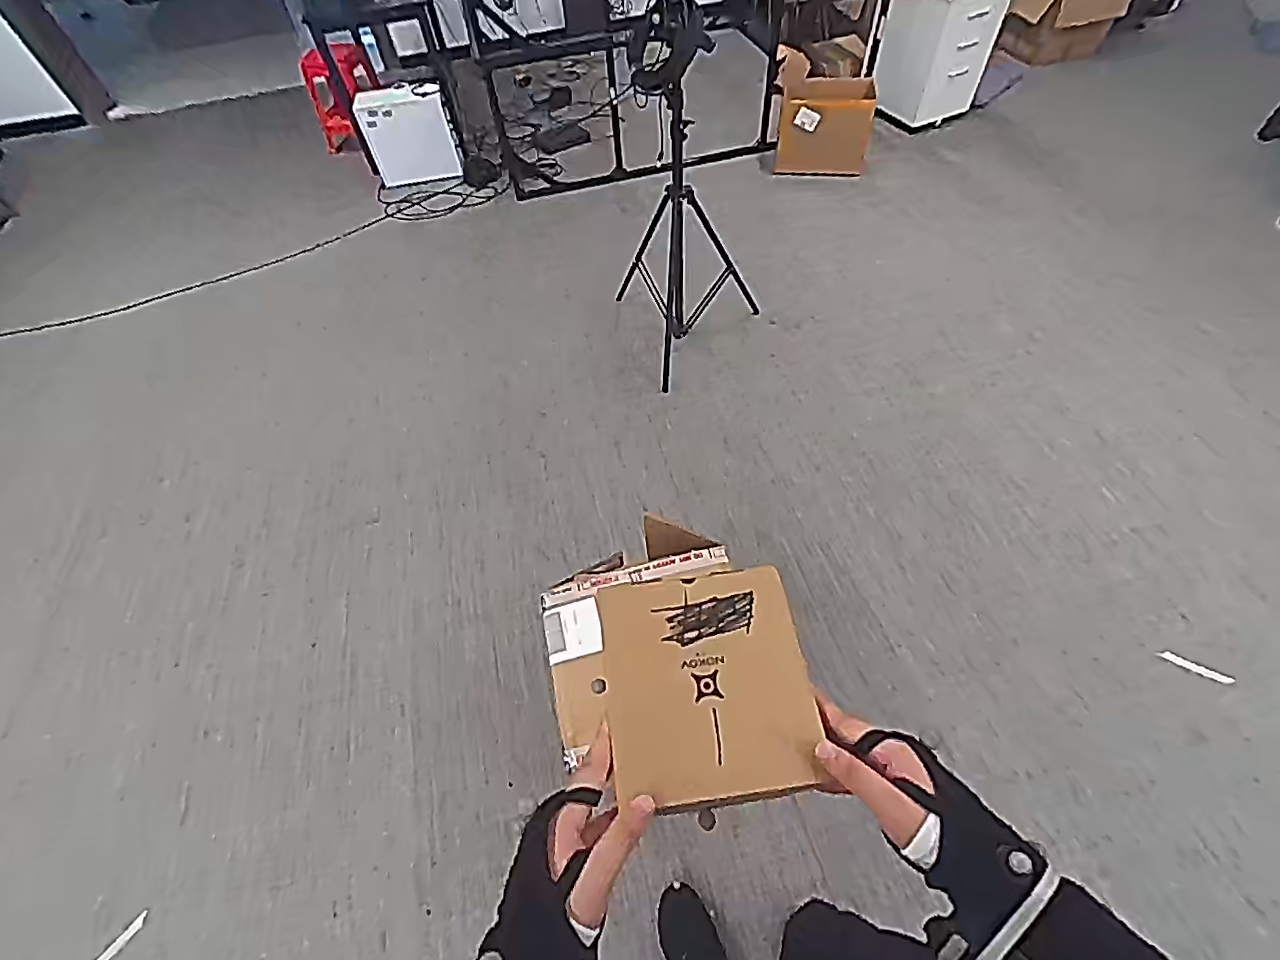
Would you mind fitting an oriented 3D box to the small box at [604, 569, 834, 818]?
[{"bbox_3d":[0.054,0.204,0.511,0.168,0.176,0.179,-6,56,-4],"label":"small box"}]
